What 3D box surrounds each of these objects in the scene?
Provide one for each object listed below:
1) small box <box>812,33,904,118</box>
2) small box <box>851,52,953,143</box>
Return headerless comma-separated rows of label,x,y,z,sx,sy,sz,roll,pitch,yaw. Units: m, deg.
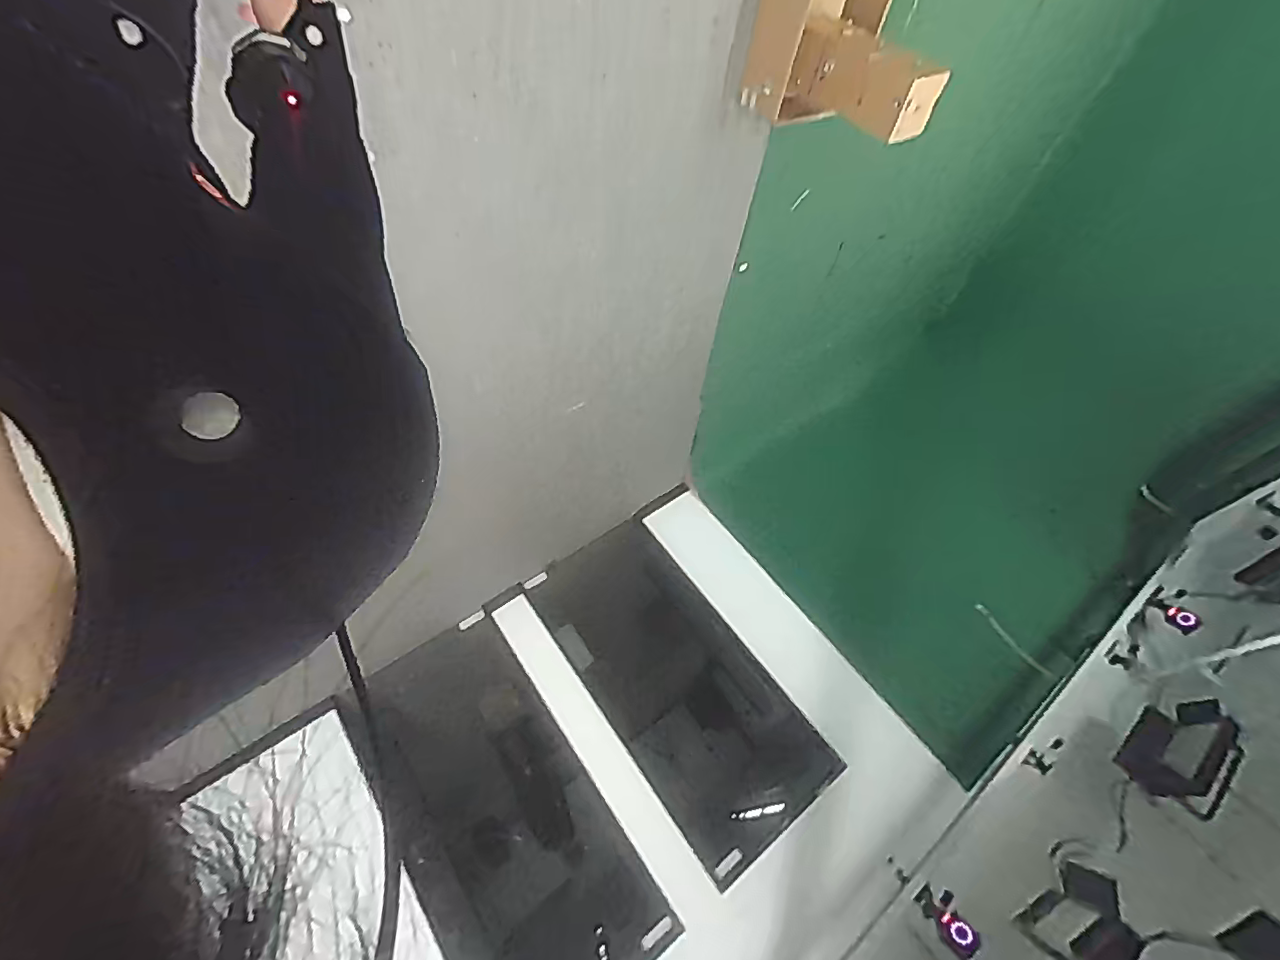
small box,0.672,-1.250,1.667,0.179,0.176,0.168,-26,151,-25
small box,0.766,-1.134,1.599,0.179,0.176,0.168,-29,153,-24
